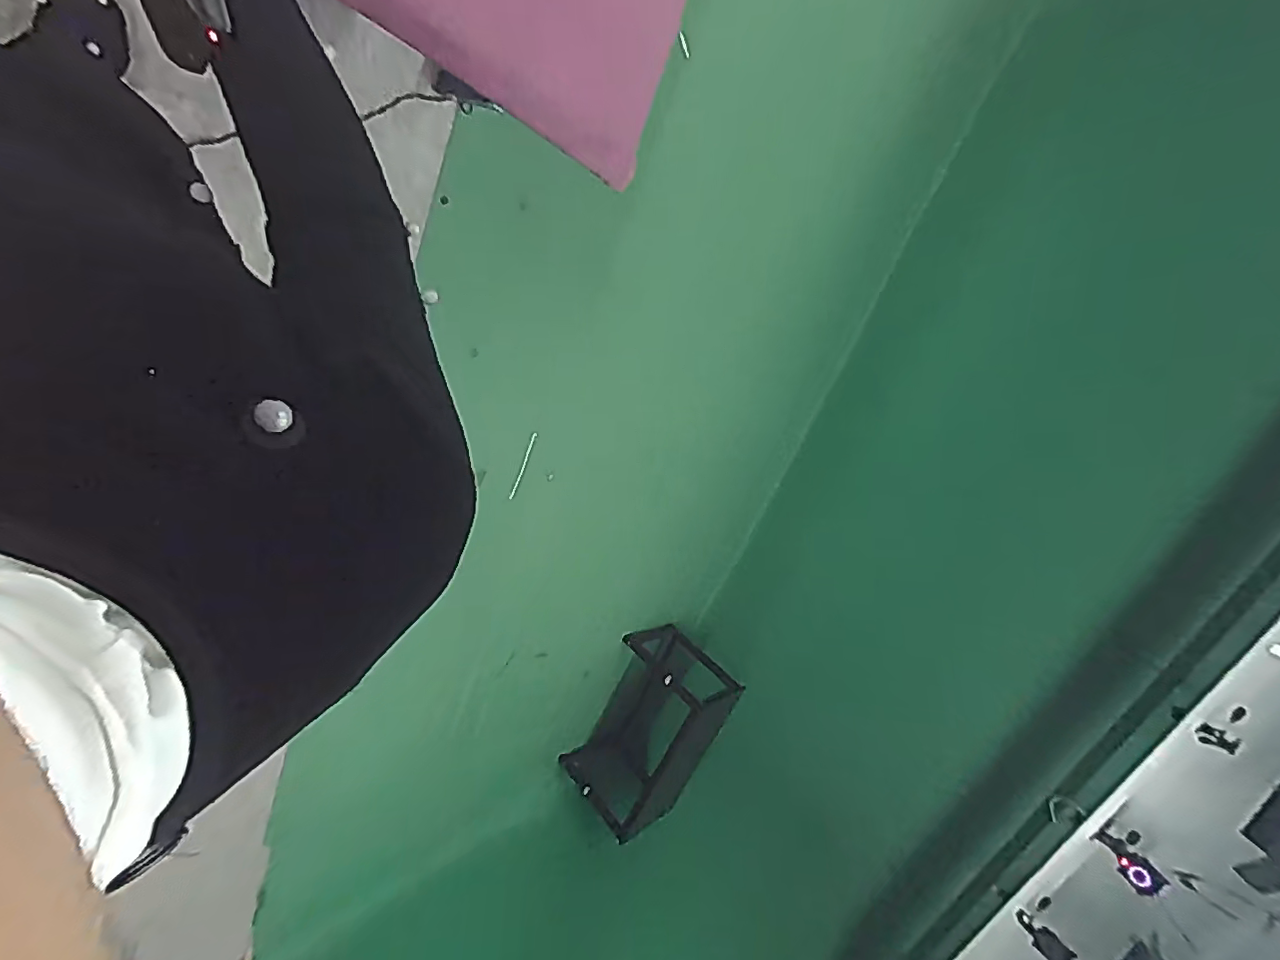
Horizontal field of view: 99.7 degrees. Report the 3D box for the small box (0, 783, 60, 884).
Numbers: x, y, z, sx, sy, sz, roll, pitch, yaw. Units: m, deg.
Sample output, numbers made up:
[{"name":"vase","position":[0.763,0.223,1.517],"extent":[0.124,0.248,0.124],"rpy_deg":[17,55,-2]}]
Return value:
[{"name":"small box","position":[-1.787,1.010,1.531],"extent":[0.179,0.176,0.168],"rpy_deg":[4,117,-52]}]
